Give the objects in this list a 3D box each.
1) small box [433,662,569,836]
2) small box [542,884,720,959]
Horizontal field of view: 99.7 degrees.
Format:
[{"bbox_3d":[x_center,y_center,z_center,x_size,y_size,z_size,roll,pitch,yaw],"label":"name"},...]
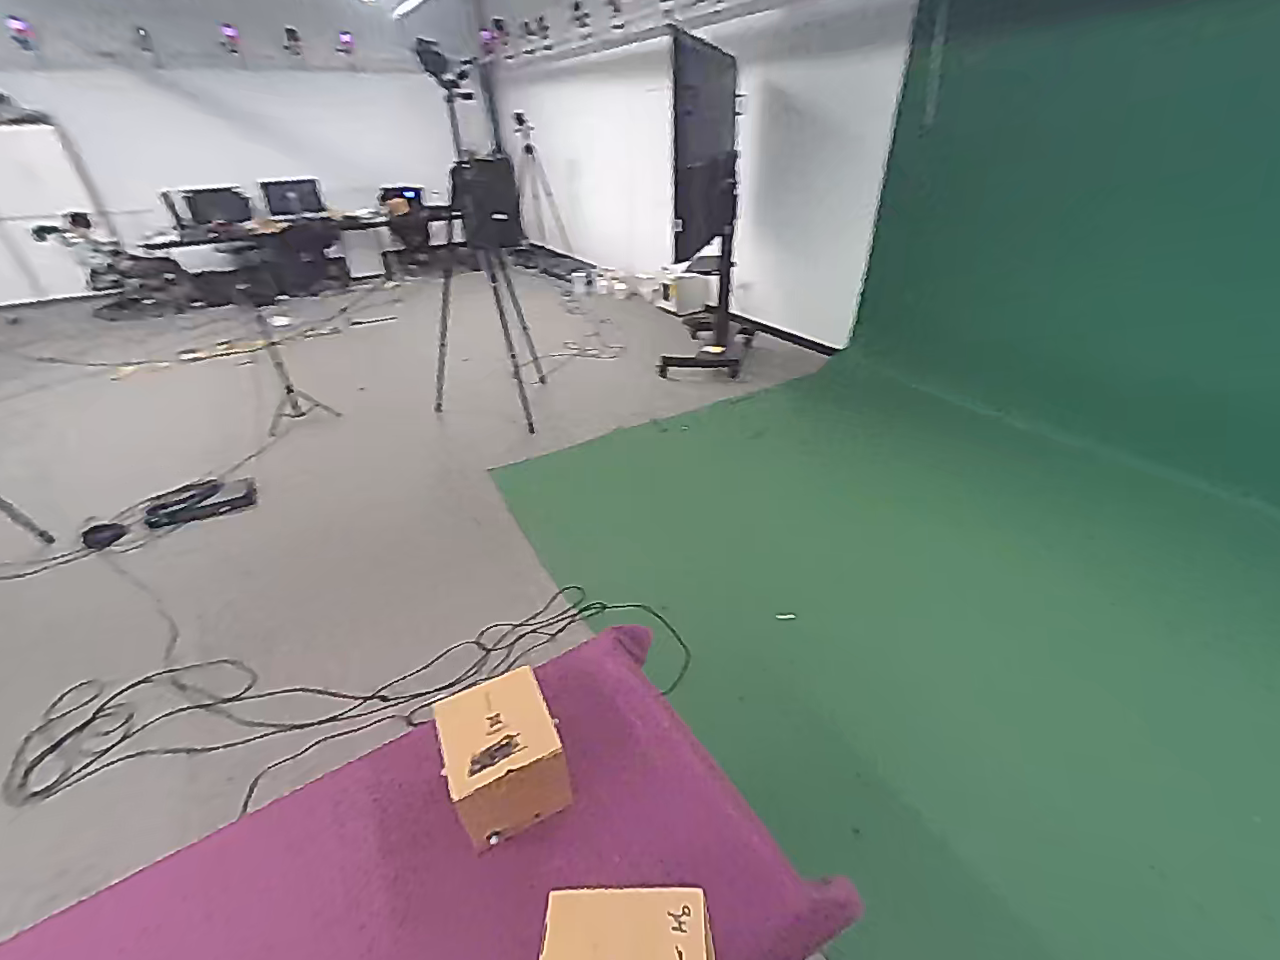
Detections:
[{"bbox_3d":[-0.226,0.445,0.890,0.168,0.176,0.179,-17,36,-21],"label":"small box"},{"bbox_3d":[-0.005,0.560,0.568,0.179,0.176,0.168,-5,31,8],"label":"small box"}]
